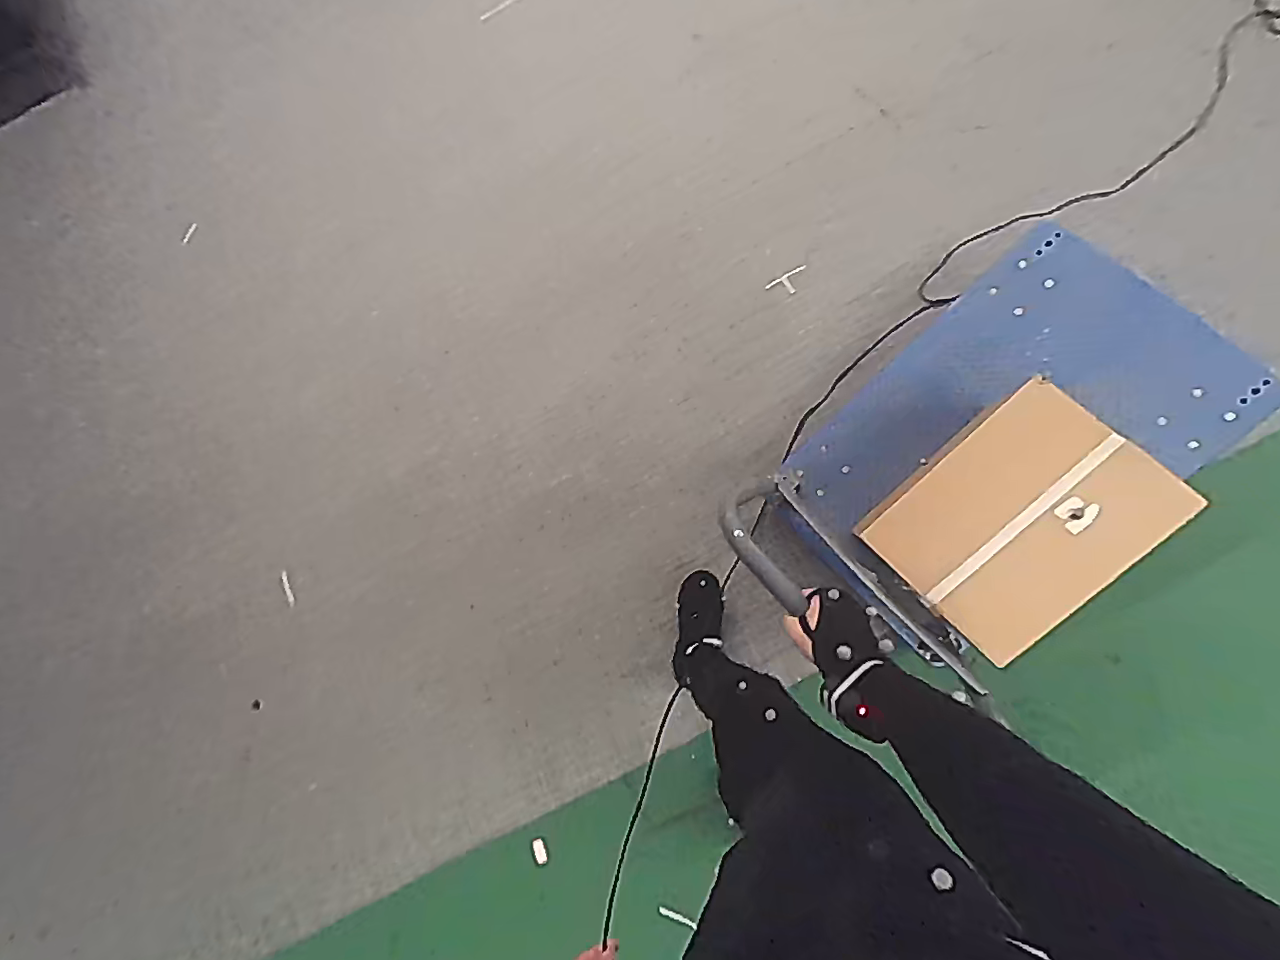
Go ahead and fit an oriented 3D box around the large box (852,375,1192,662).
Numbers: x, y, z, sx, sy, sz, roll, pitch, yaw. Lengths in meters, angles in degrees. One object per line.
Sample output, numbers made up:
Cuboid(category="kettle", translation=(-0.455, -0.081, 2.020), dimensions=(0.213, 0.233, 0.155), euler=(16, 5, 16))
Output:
Cuboid(category="large box", translation=(0.679, 0.075, 1.059), dimensions=(0.408, 0.320, 0.320), euler=(-46, 75, 10))
